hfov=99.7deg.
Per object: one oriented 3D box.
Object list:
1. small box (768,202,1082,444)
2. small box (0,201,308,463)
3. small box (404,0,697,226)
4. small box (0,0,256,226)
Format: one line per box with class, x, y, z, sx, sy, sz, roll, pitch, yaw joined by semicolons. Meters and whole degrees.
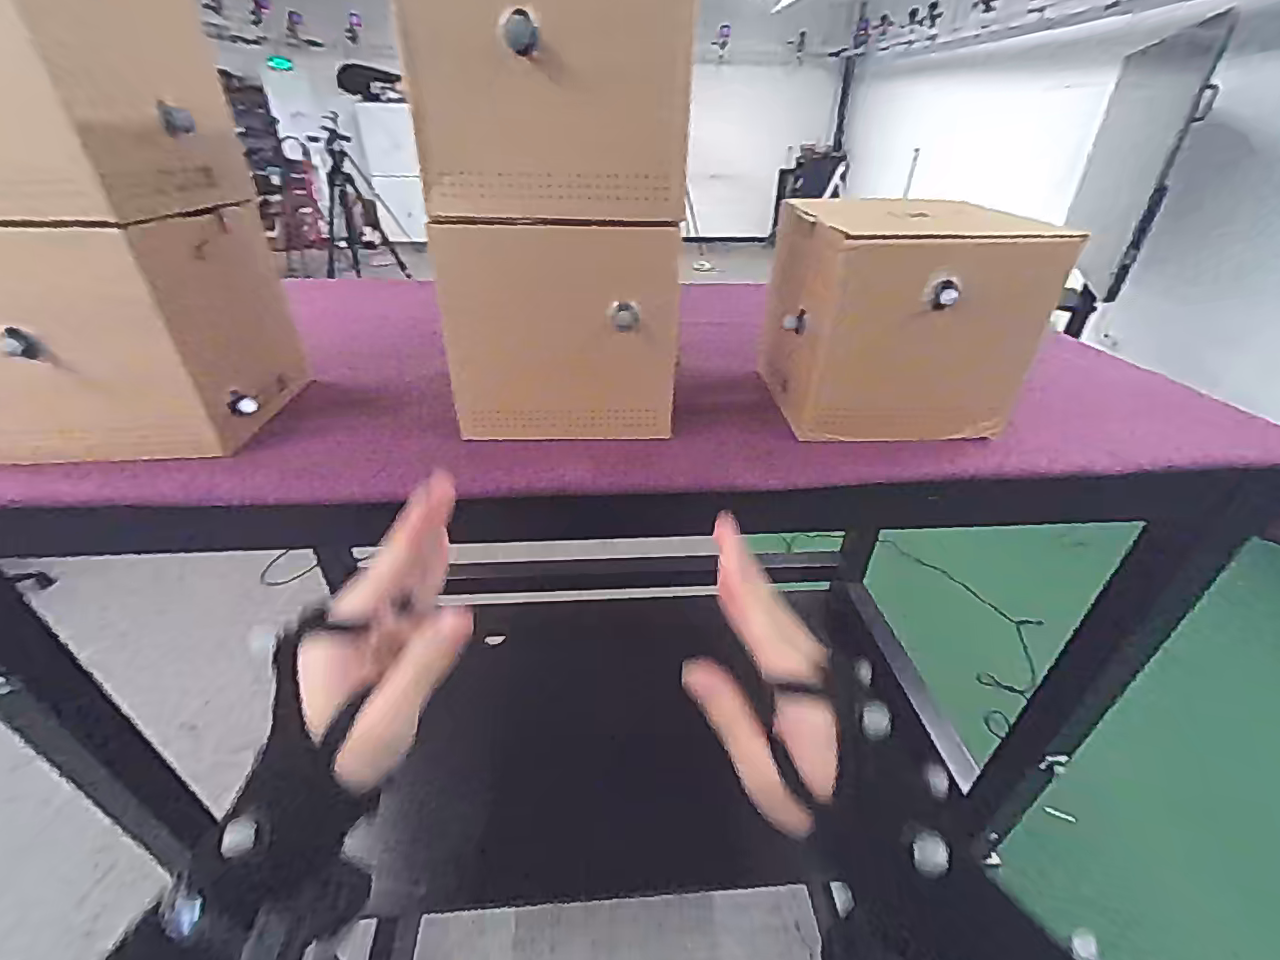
small box;0.218;-0.142;0.479;0.179;0.176;0.168;0;35;-2
small box;-0.408;-0.125;0.437;0.179;0.176;0.168;-3;33;-5
small box;-0.054;-0.283;0.388;0.179;0.176;0.168;-1;33;-2
small box;-0.404;-0.265;0.349;0.179;0.176;0.168;-1;33;-4
